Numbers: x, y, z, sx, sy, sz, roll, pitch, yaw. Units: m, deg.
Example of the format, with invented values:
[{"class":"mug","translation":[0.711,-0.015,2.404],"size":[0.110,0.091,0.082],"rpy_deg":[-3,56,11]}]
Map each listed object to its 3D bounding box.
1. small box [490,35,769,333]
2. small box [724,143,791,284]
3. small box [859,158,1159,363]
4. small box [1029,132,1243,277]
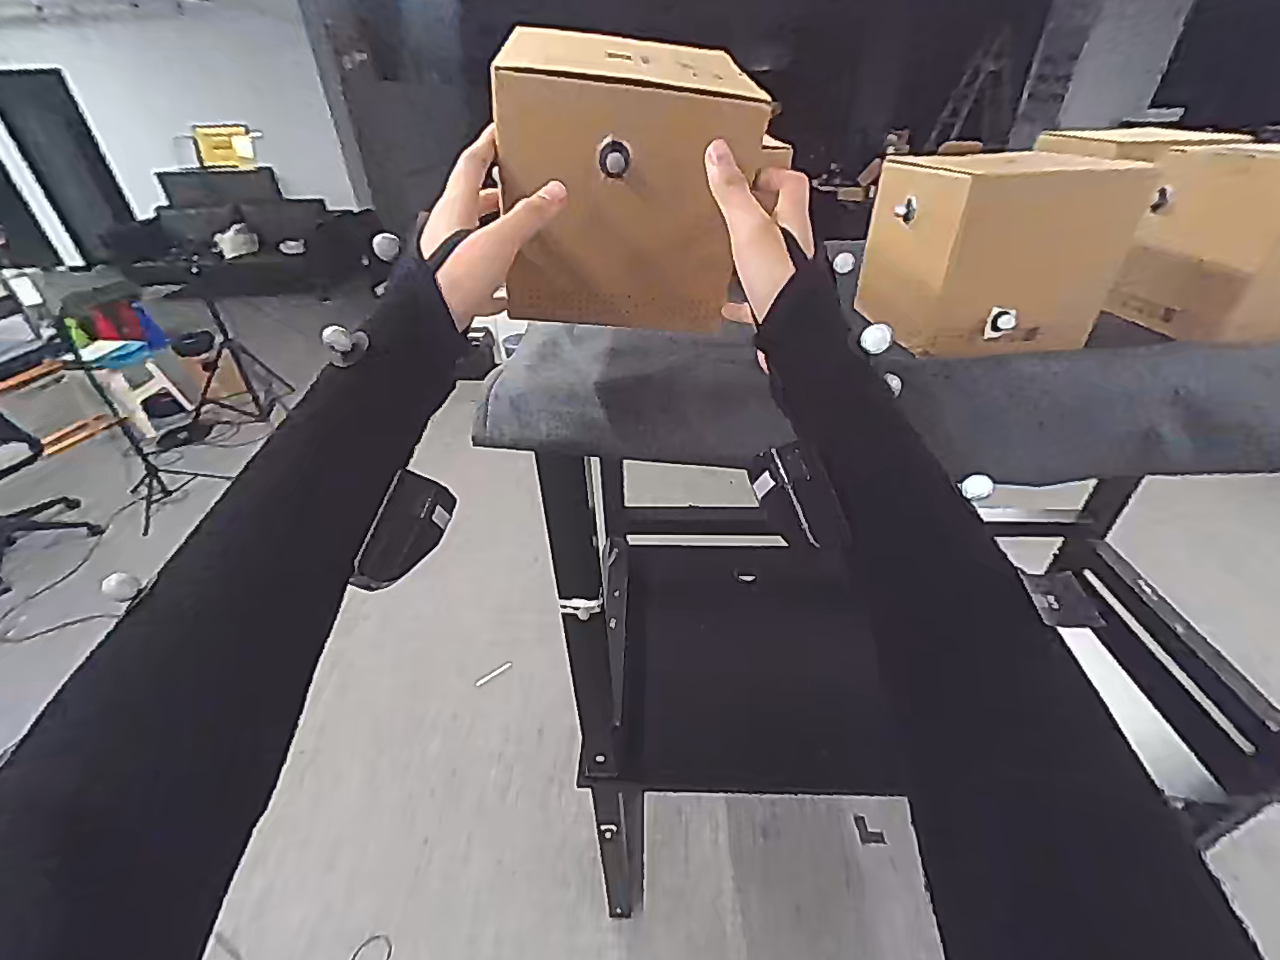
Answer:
[{"class":"small box","translation":[-0.016,-0.236,0.440],"size":[0.179,0.176,0.168],"rpy_deg":[3,46,-7]},{"class":"small box","translation":[0.106,-0.394,0.799],"size":[0.179,0.176,0.168],"rpy_deg":[-1,35,-1]},{"class":"small box","translation":[0.348,-0.230,0.560],"size":[0.168,0.176,0.179],"rpy_deg":[-3,34,-2]},{"class":"small box","translation":[0.683,-0.404,0.795],"size":[0.168,0.176,0.179],"rpy_deg":[-1,35,1]}]
